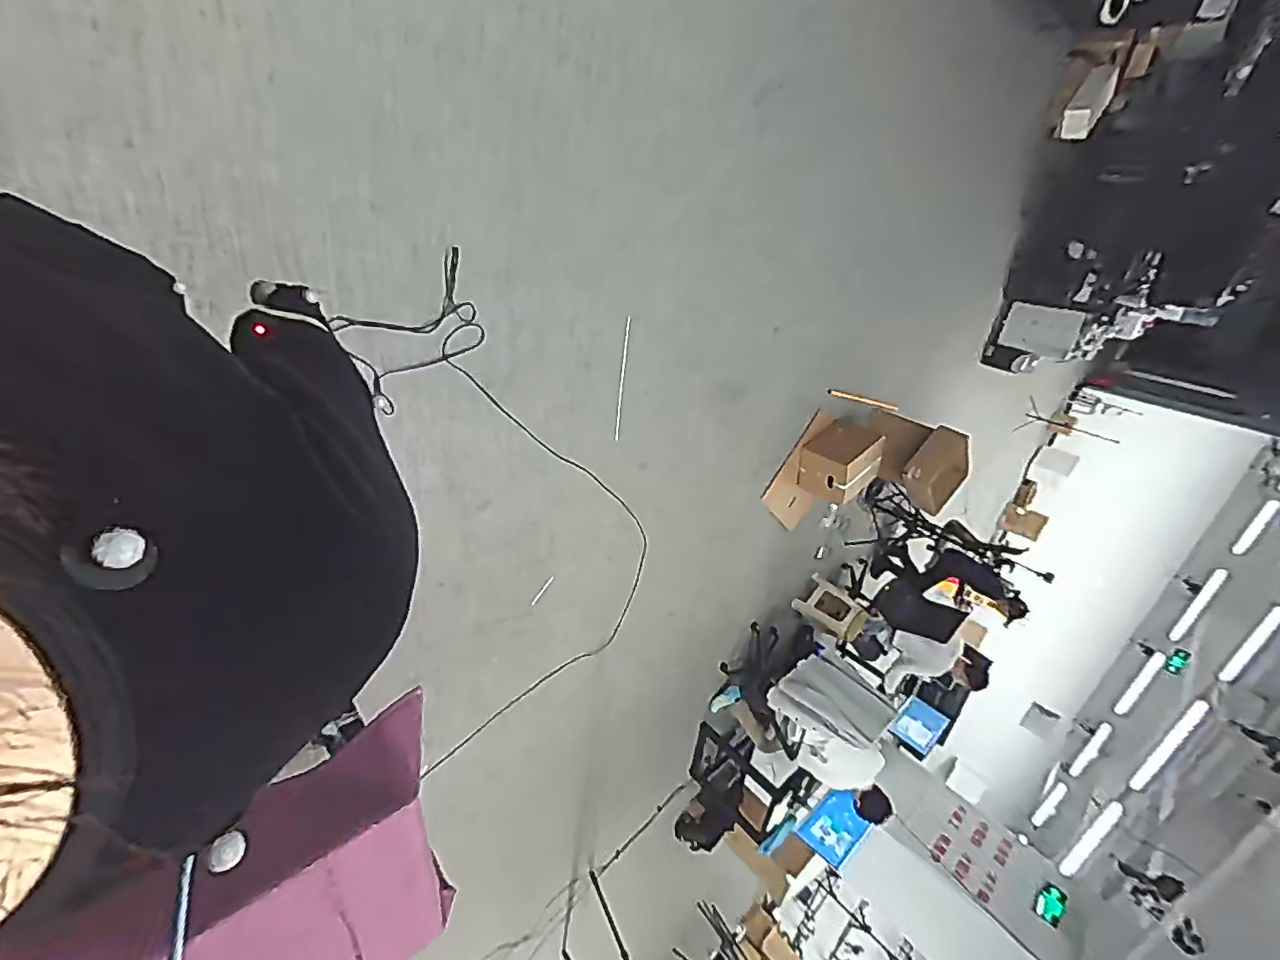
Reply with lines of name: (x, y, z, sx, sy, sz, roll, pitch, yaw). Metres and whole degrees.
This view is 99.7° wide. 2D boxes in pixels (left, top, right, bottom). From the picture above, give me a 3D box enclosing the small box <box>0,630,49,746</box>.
small box: (-1.358, 0.438, 1.100, 0.179, 0.176, 0.168, -18, 126, -39)
